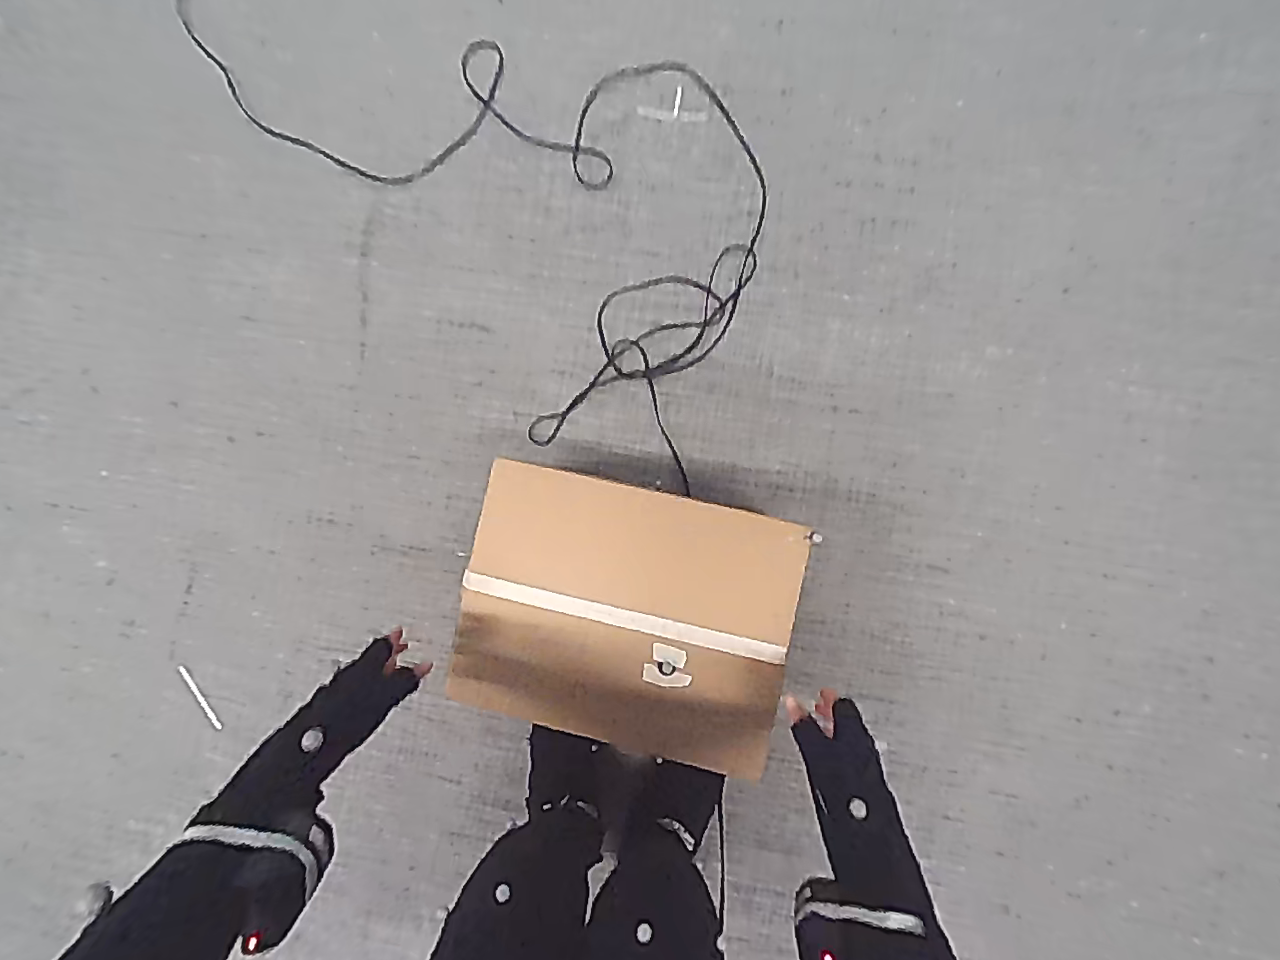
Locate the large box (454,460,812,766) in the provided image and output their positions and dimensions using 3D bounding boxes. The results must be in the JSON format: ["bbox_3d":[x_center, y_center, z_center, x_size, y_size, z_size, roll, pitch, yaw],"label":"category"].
[{"bbox_3d":[-0.004,0.164,0.814,0.408,0.320,0.320,12,90,5],"label":"large box"}]
